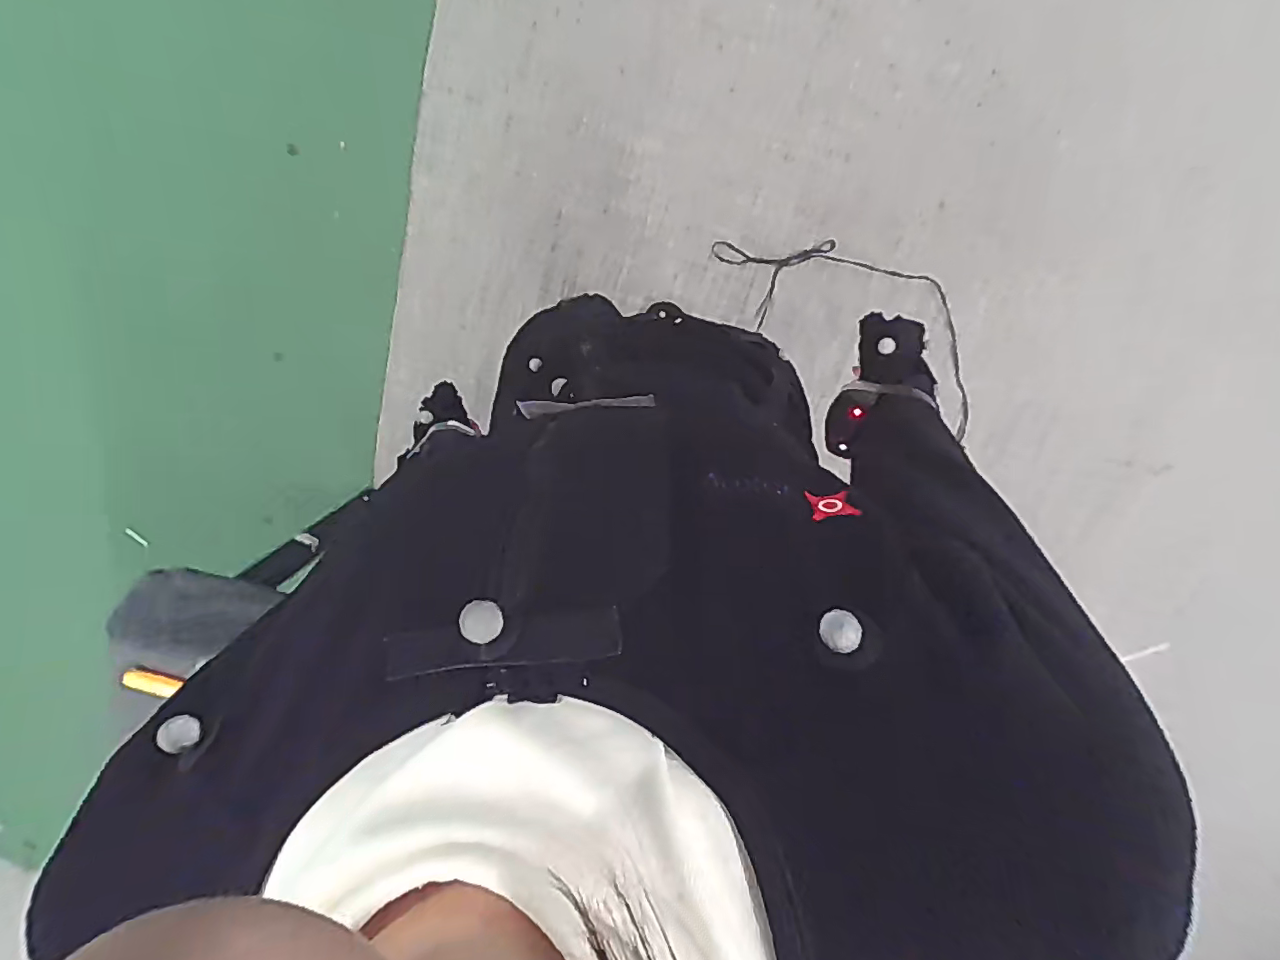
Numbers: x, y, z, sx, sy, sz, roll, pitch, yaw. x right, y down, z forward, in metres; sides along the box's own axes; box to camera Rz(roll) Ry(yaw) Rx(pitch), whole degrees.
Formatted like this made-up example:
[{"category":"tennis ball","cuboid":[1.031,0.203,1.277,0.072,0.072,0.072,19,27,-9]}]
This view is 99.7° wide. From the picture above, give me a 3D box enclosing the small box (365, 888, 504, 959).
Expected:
[{"category":"small box","cuboid":[-0.298,0.710,0.736,0.168,0.176,0.179,15,111,-2]}]
